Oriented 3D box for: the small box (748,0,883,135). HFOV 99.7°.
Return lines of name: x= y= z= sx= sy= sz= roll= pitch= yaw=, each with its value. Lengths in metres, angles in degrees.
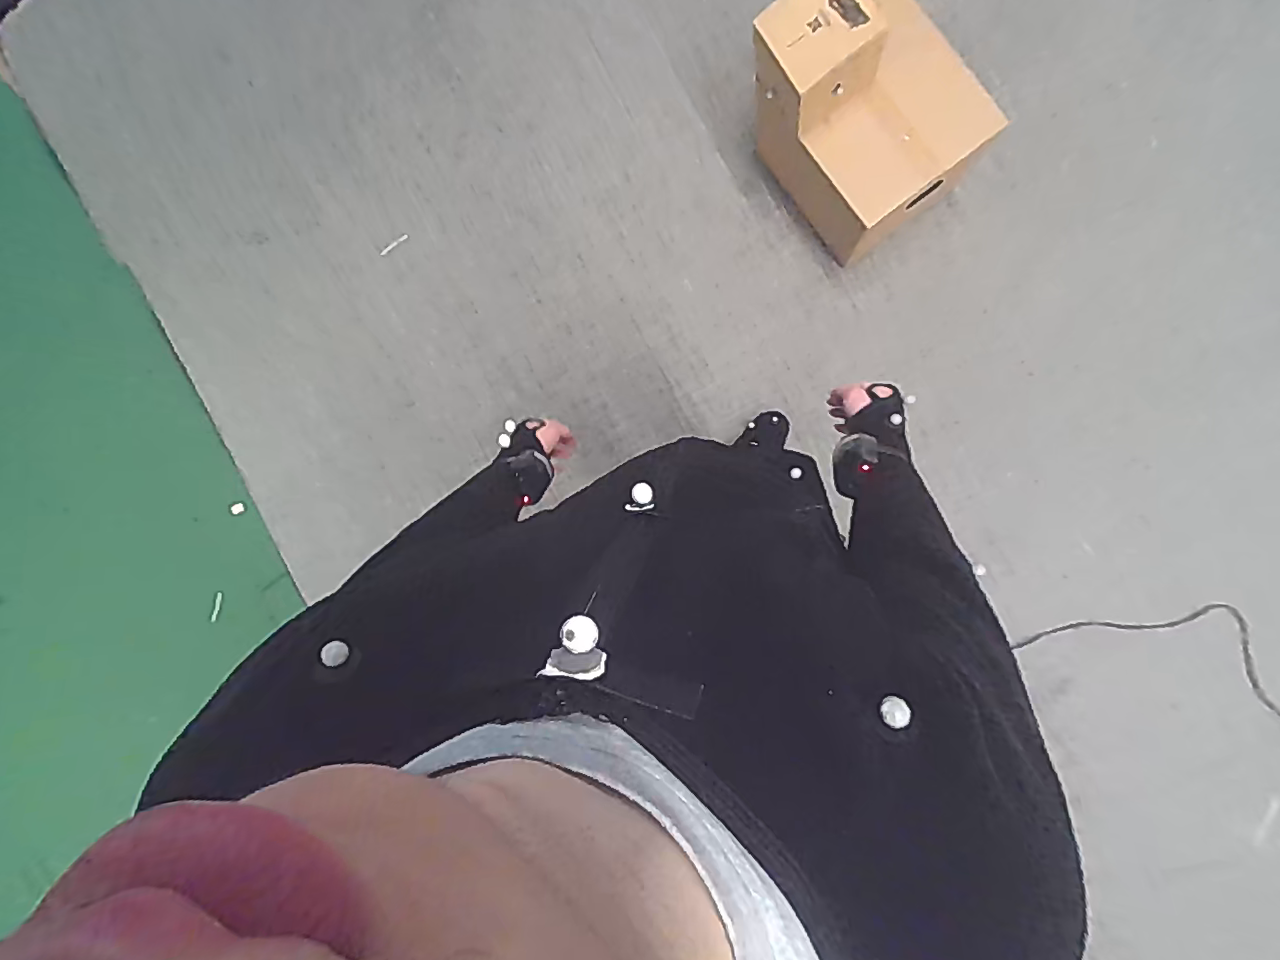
small box: x=0.320 y=-0.807 z=1.016 sx=0.179 sy=0.176 sz=0.168 roll=-33 pitch=89 yaw=16
